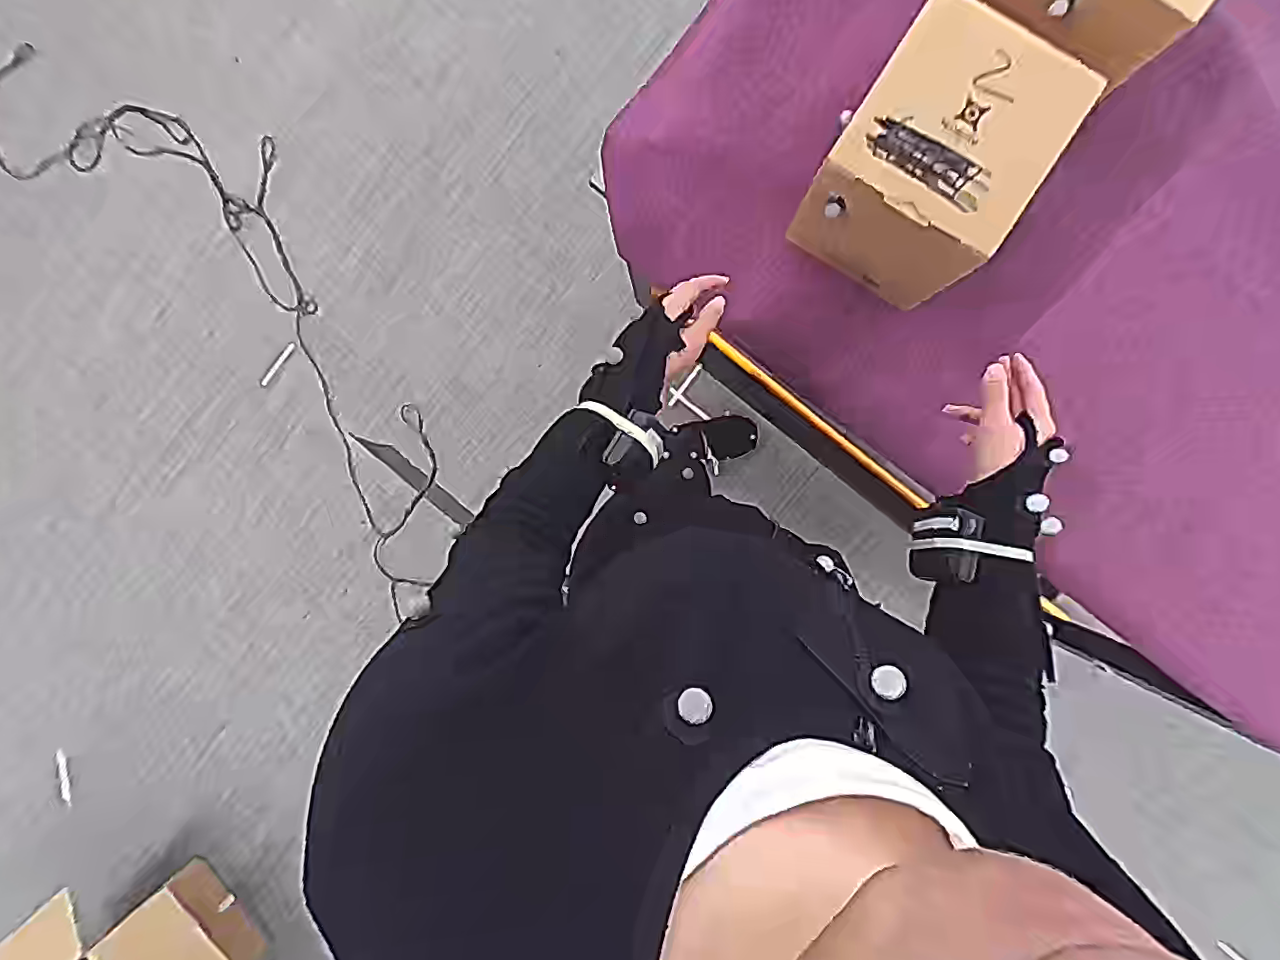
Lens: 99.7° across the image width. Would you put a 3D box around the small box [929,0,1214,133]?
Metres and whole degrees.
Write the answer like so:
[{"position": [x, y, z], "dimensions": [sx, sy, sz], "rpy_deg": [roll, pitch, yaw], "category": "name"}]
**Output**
[{"position": [0.434, -0.486, 0.527], "dimensions": [0.179, 0.176, 0.168], "rpy_deg": [35, 94, 1], "category": "small box"}]
